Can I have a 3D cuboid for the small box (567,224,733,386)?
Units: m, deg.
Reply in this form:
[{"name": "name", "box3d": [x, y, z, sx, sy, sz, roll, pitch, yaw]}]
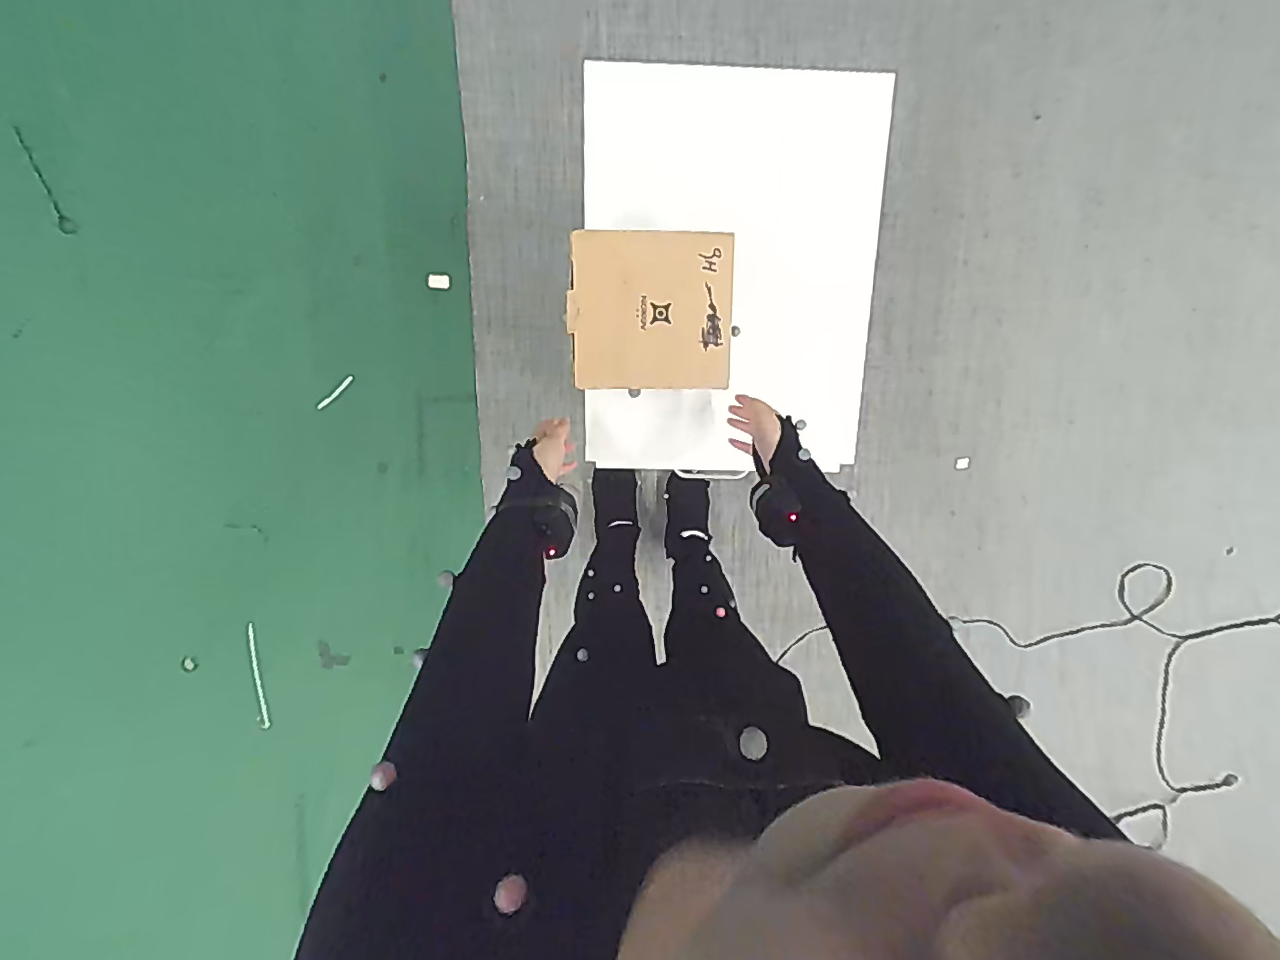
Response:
[{"name": "small box", "box3d": [0.006, -0.200, 0.658, 0.179, 0.176, 0.168, 0, 102, -4]}]
